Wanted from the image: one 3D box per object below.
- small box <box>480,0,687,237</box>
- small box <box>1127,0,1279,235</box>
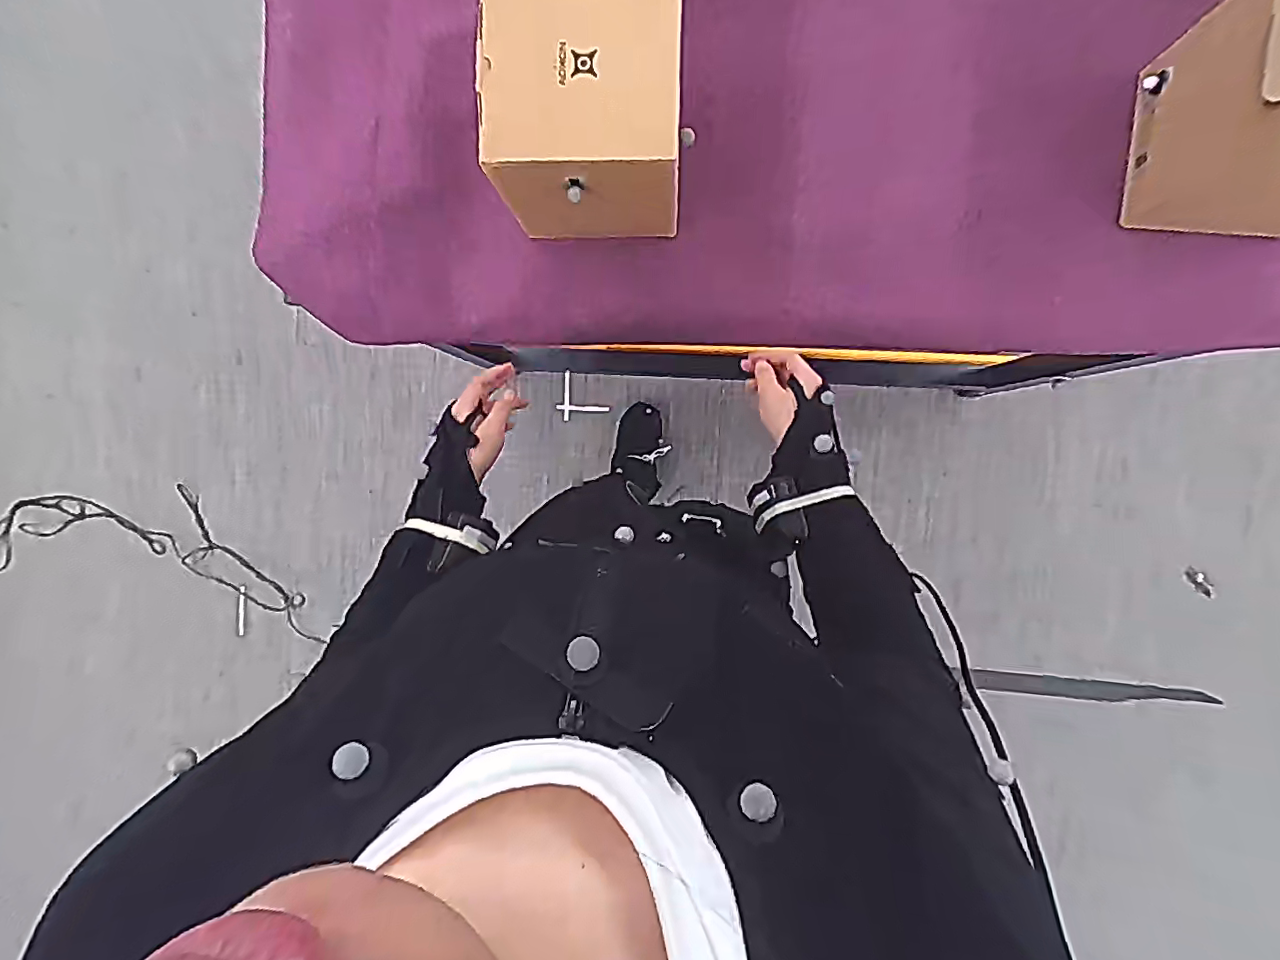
[{"bbox_3d":[-0.045,-0.356,0.538,0.179,0.176,0.168,1,93,4],"label":"small box"},{"bbox_3d":[0.599,-0.339,0.487,0.179,0.176,0.168,6,92,4],"label":"small box"}]
